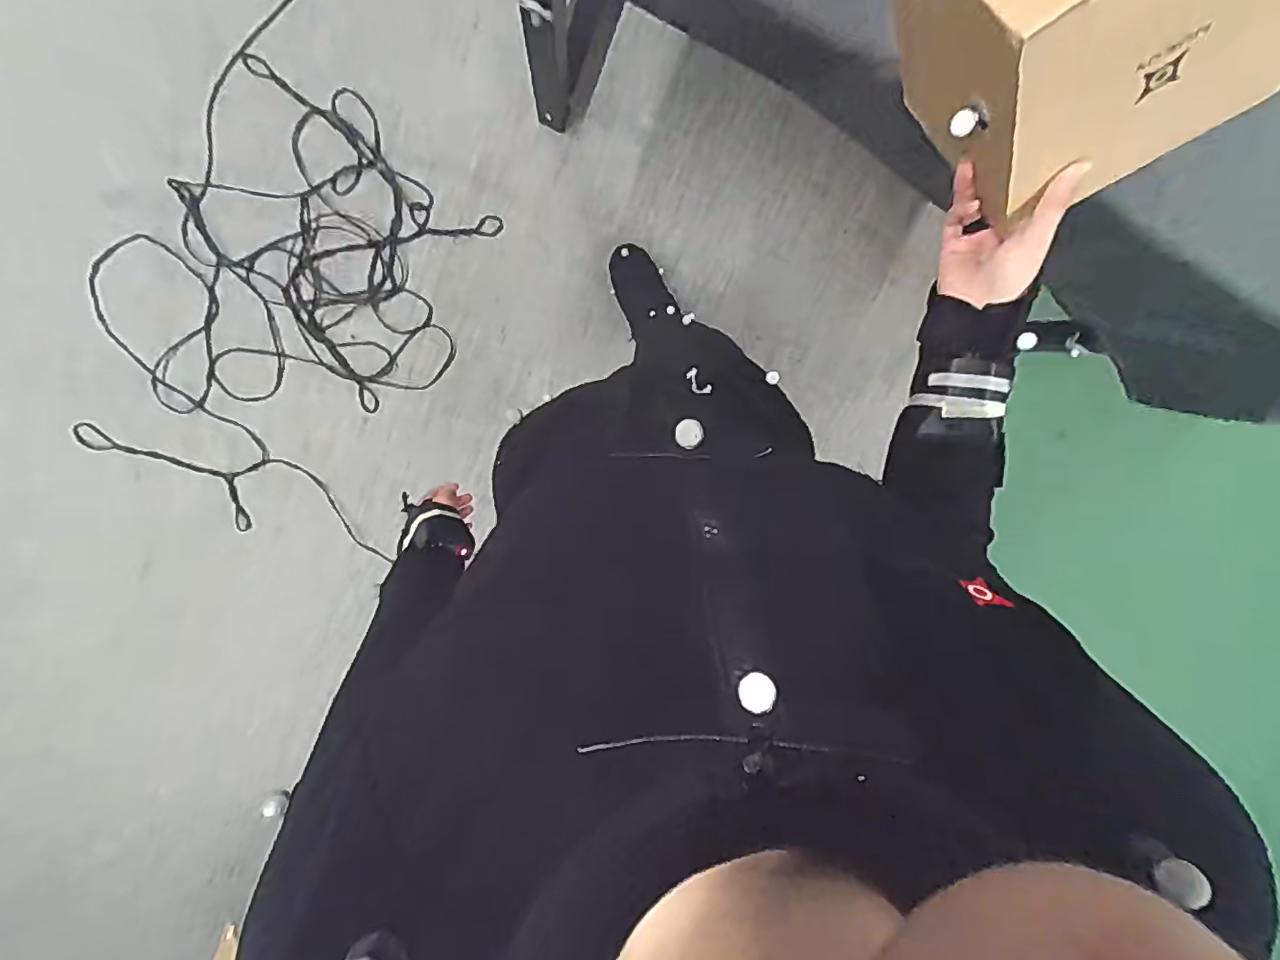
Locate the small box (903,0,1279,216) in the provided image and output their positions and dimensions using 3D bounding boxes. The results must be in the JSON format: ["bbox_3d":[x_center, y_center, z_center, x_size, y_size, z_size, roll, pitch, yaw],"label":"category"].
[{"bbox_3d":[0.281,-0.320,0.336,0.168,0.179,0.176,-28,65,23],"label":"small box"}]

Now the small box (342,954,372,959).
[{"bbox_3d":[-0.708,1.333,1.327,0.168,0.176,0.179,24,97,-11],"label":"small box"}]
